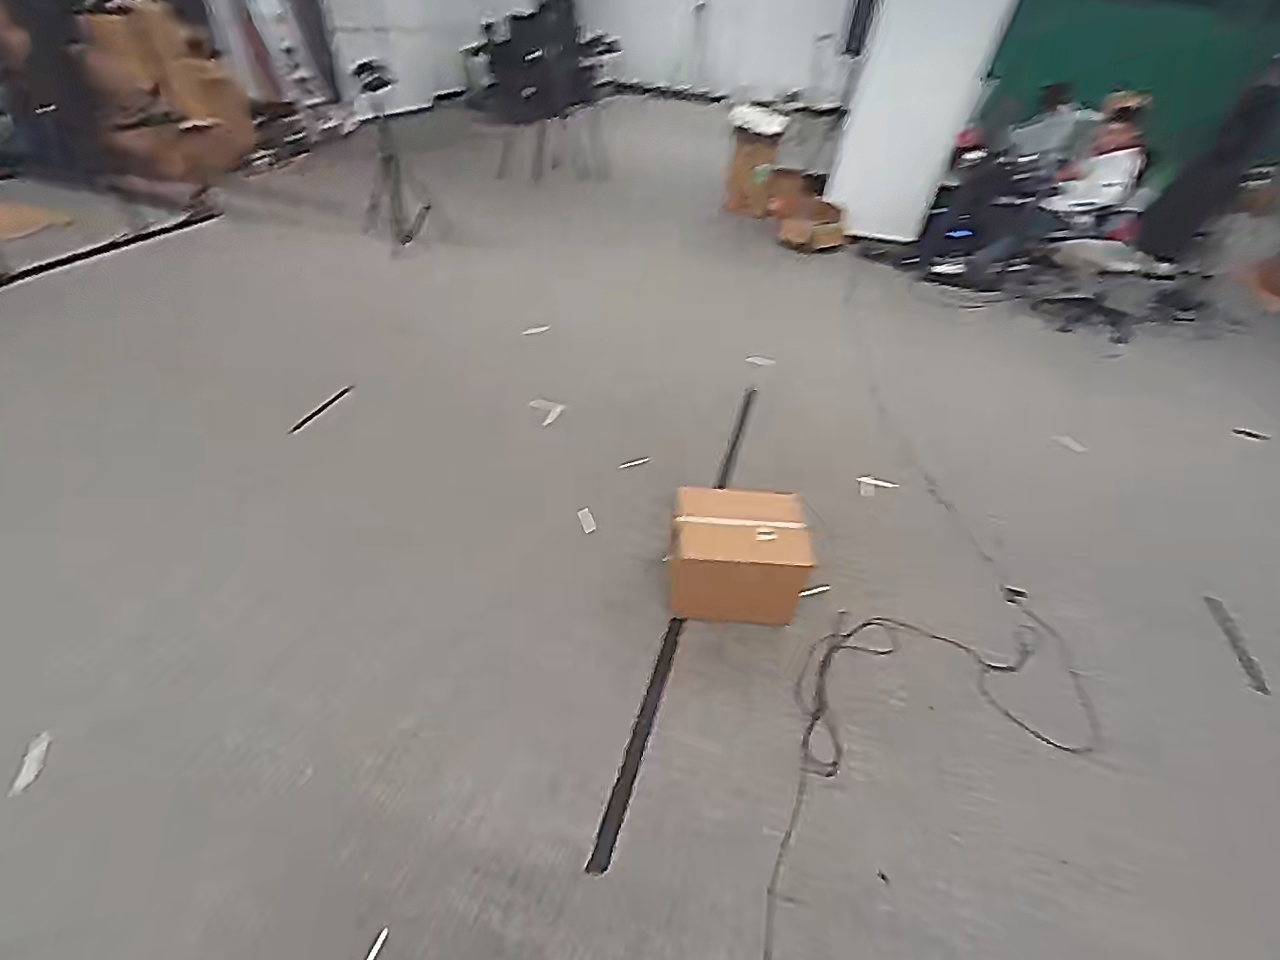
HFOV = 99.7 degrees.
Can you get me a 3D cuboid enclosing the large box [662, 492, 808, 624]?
[{"bbox_3d":[0.294,0.263,1.815,0.408,0.320,0.320,5,41,-3],"label":"large box"}]
